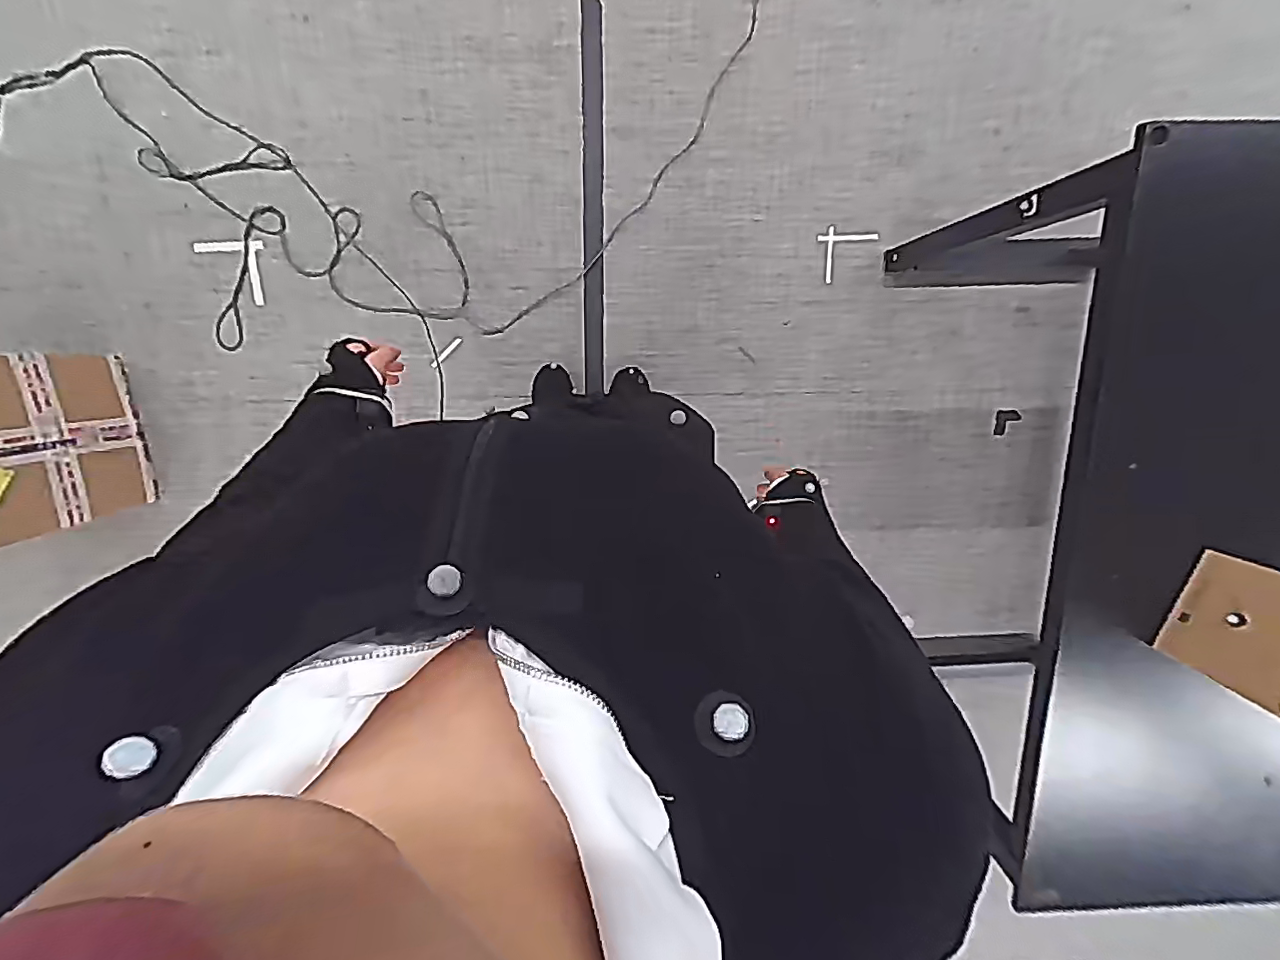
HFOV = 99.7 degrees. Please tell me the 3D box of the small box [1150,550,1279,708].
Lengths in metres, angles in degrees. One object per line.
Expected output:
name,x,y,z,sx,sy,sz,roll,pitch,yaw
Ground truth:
small box,0.876,0.210,0.741,0.179,0.176,0.168,17,102,-5
